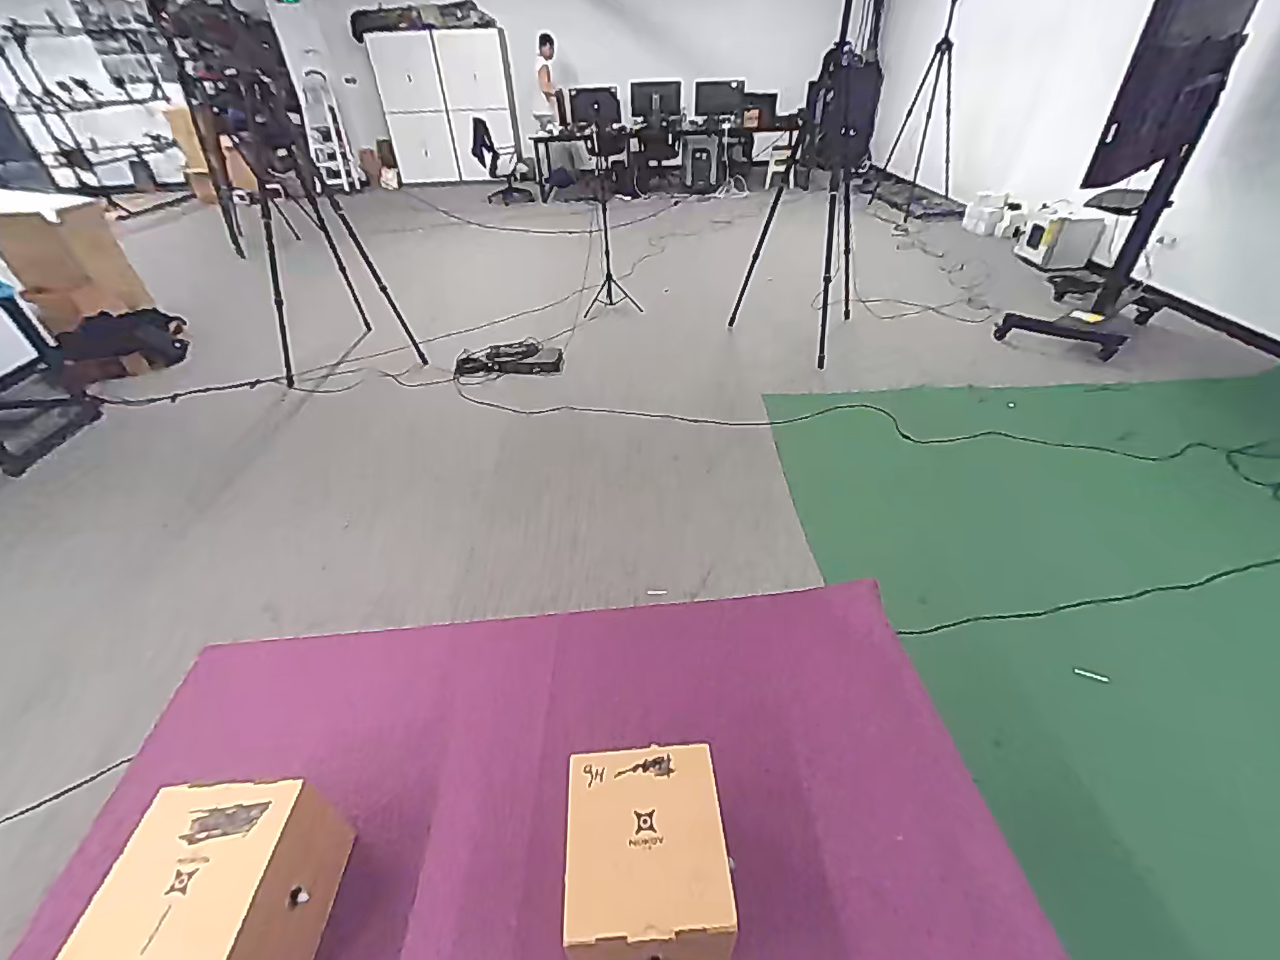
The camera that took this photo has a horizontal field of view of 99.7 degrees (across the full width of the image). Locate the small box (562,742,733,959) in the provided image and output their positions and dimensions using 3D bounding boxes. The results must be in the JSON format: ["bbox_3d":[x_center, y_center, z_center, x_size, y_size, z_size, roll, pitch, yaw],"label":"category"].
[{"bbox_3d":[0.008,0.430,0.621,0.168,0.176,0.179,-4,39,-1],"label":"small box"}]

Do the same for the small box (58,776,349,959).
[{"bbox_3d":[-0.457,0.461,0.607,0.168,0.176,0.179,-3,40,0],"label":"small box"}]
